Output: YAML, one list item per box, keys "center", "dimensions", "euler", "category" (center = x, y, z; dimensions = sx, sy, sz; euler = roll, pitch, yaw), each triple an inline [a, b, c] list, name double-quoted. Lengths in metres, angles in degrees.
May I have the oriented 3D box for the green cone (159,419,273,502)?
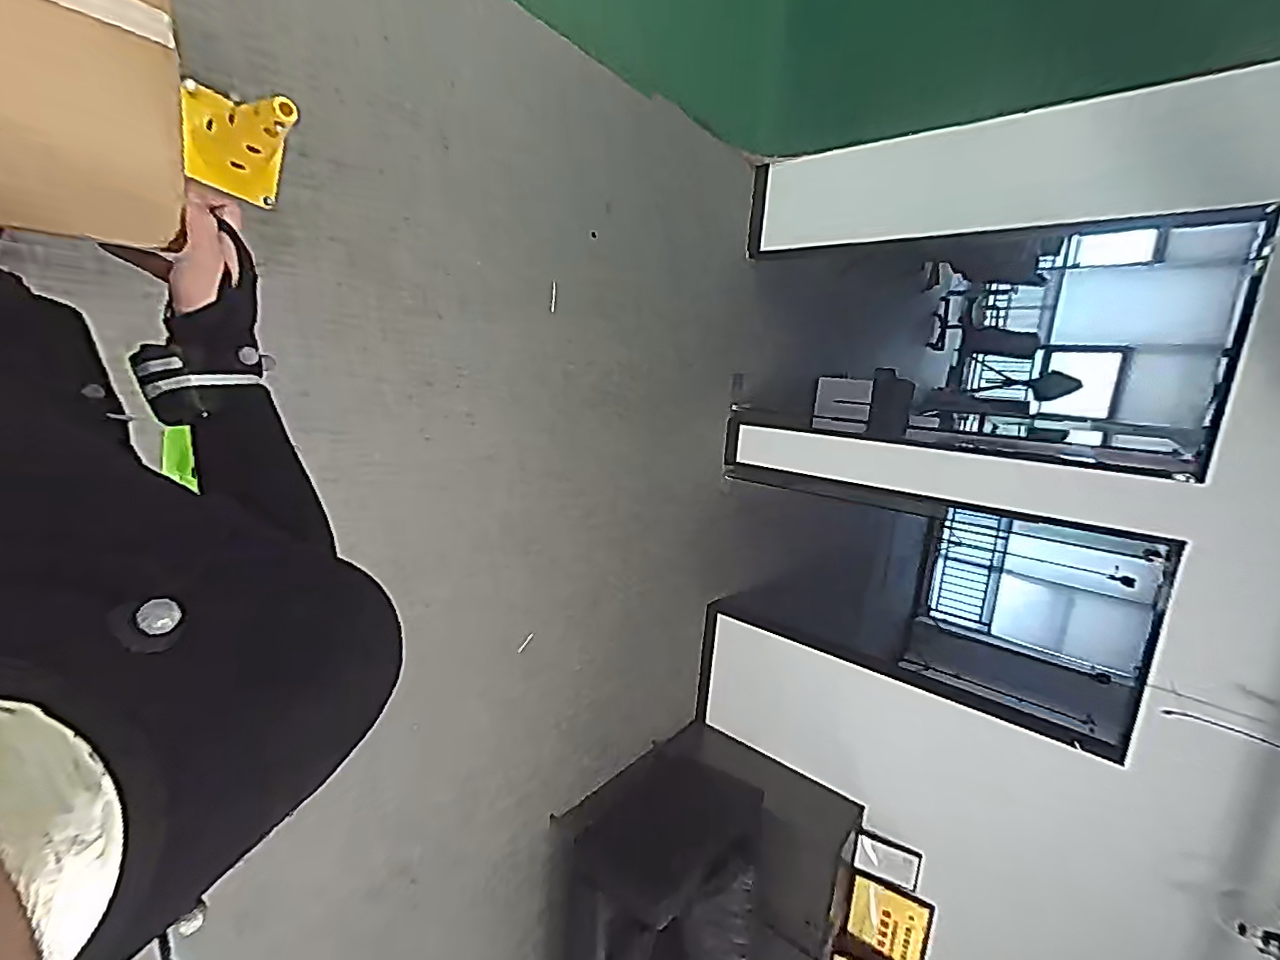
- center: [-0.922, -0.016, 1.234]
  dimensions: [0.200, 0.368, 0.202]
  euler: [1, 98, -52]
  category: "green cone"
